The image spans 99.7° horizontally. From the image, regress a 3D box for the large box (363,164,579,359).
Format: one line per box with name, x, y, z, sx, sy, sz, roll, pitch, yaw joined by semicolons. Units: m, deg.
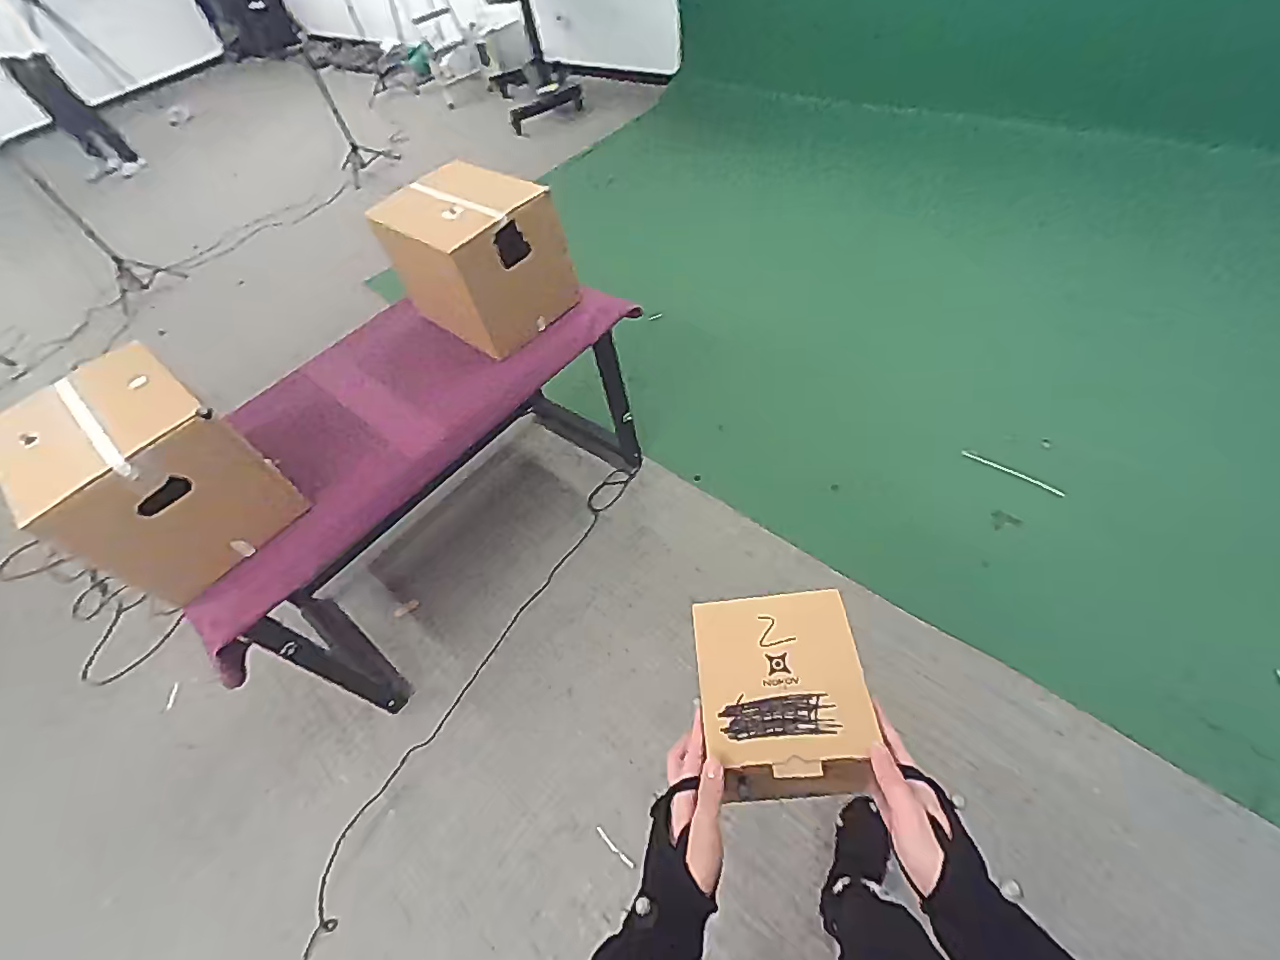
large box;-0.432;-0.583;1.436;0.408;0.320;0.320;32;66;29
